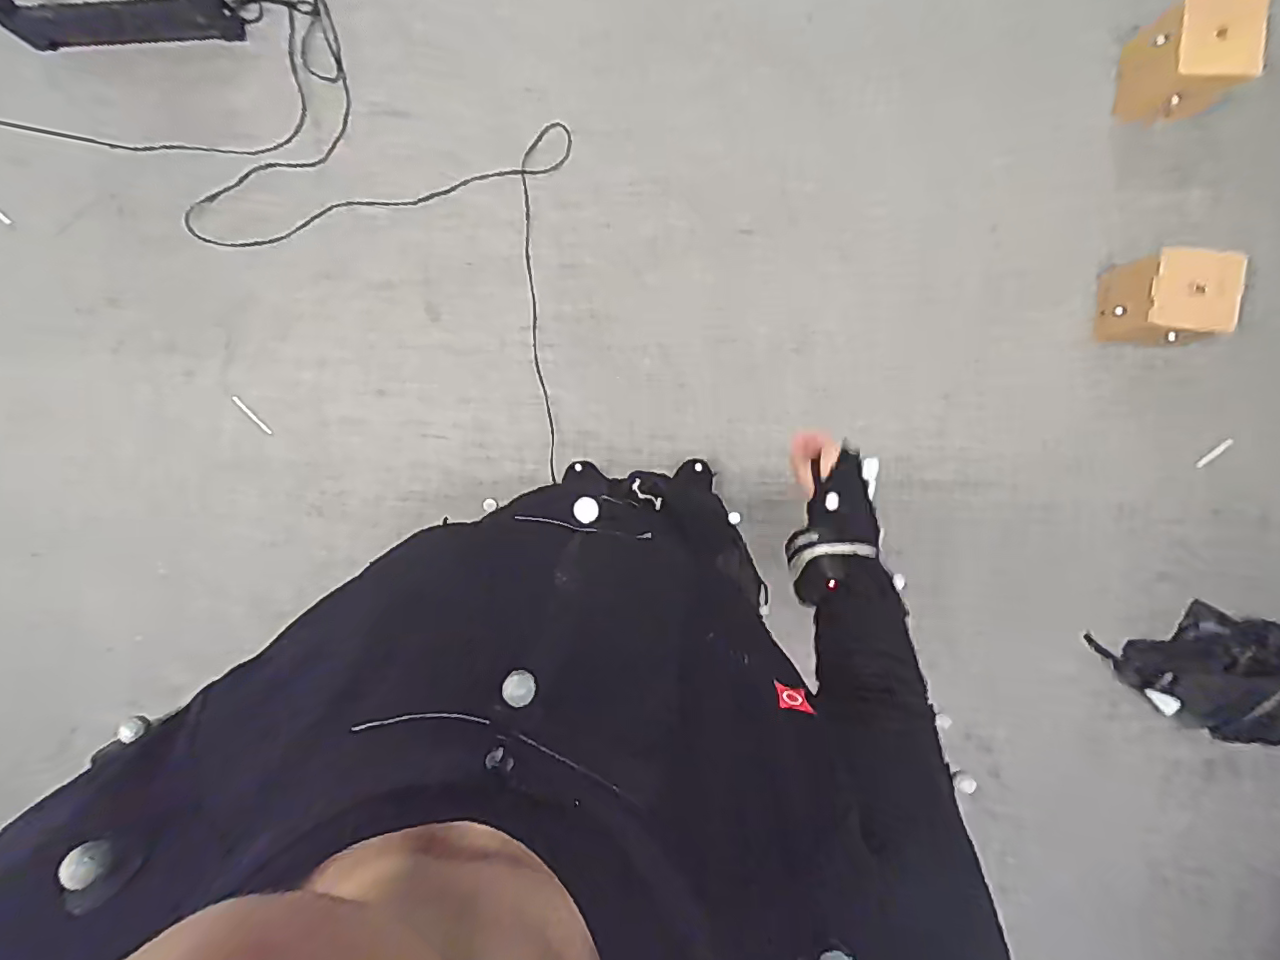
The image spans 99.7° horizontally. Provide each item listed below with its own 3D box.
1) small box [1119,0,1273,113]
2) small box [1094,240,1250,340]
[{"bbox_3d":[1.200,-0.938,1.181,0.168,0.176,0.179,3,92,3],"label":"small box"},{"bbox_3d":[1.173,-0.416,1.208,0.179,0.176,0.168,6,94,2],"label":"small box"}]
